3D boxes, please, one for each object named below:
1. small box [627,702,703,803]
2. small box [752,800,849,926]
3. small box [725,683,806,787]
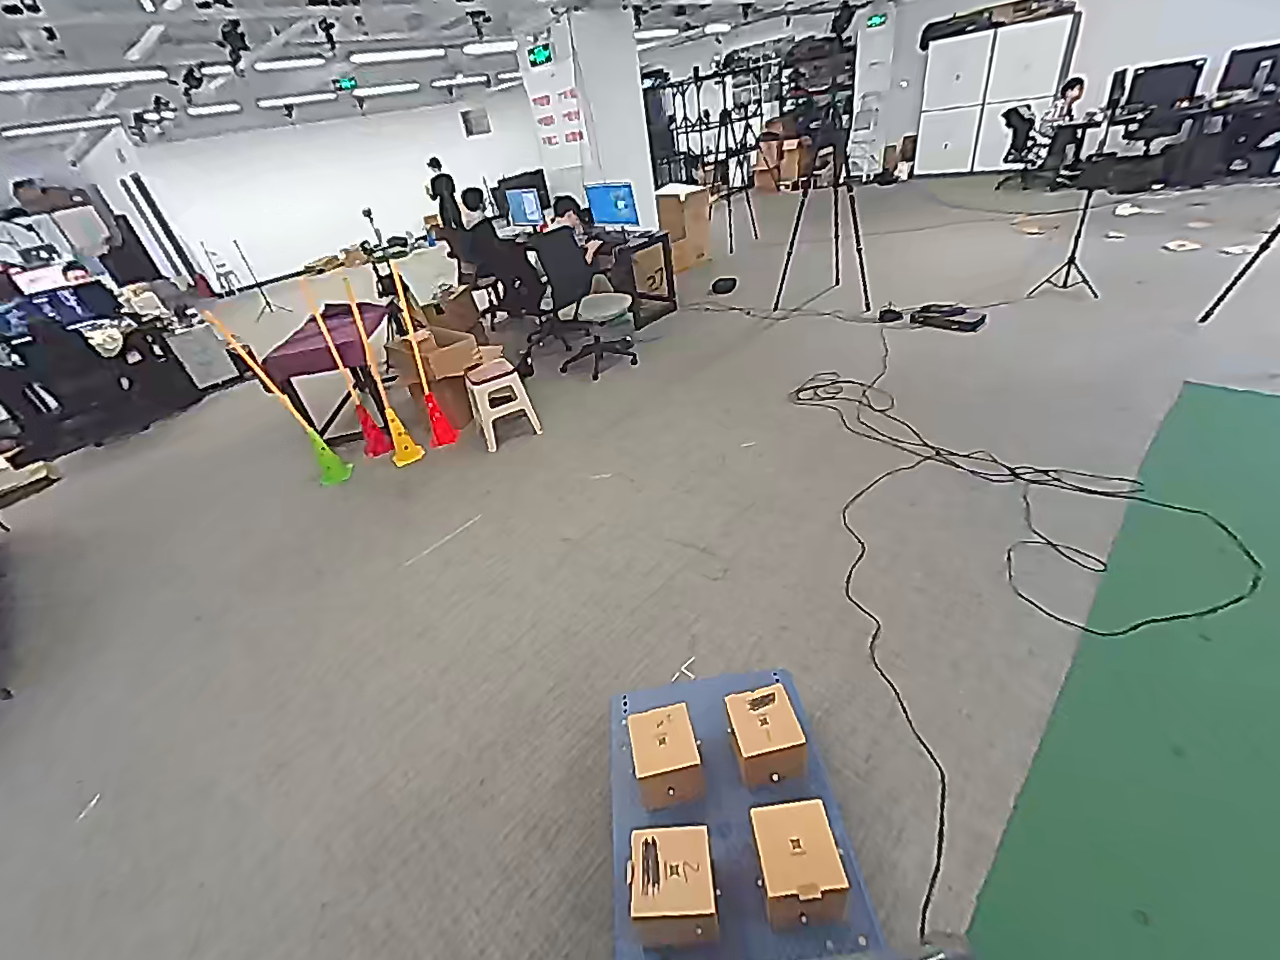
[{"bbox_3d":[0.068,0.733,1.445,0.168,0.176,0.179,-11,34,-3],"label":"small box"},{"bbox_3d":[0.347,0.851,1.205,0.168,0.176,0.179,-9,35,2],"label":"small box"},{"bbox_3d":[0.332,0.683,1.448,0.168,0.176,0.179,-12,35,-2],"label":"small box"}]
